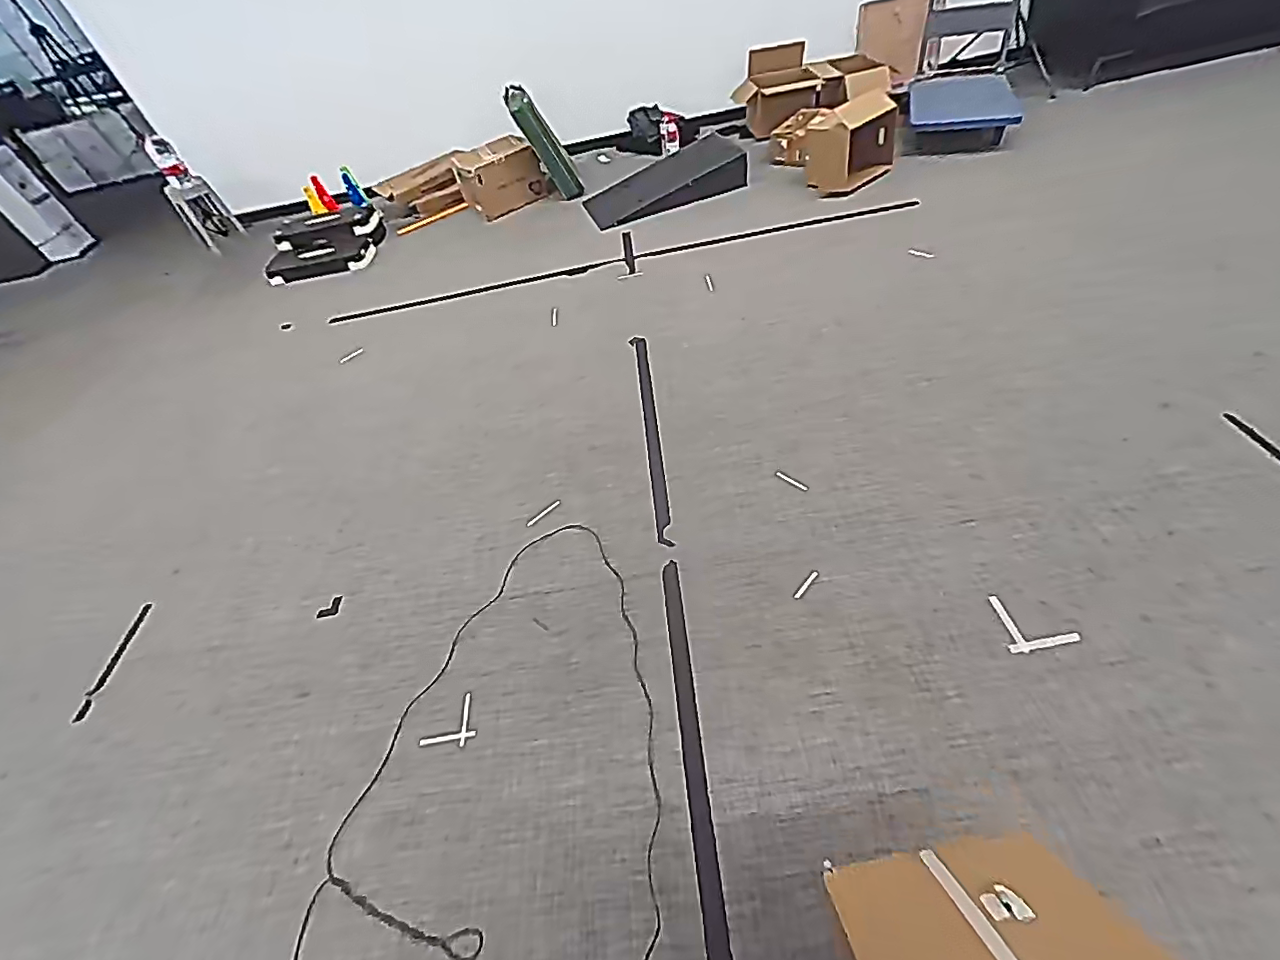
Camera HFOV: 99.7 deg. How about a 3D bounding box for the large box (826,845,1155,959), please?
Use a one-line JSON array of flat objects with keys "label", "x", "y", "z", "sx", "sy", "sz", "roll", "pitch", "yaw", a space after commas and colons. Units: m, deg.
[{"label": "large box", "x": 0.453, "y": 0.708, "z": 0.608, "sx": 0.320, "sy": 0.408, "sz": 0.320, "roll": -12, "pitch": 83, "yaw": 3}]
